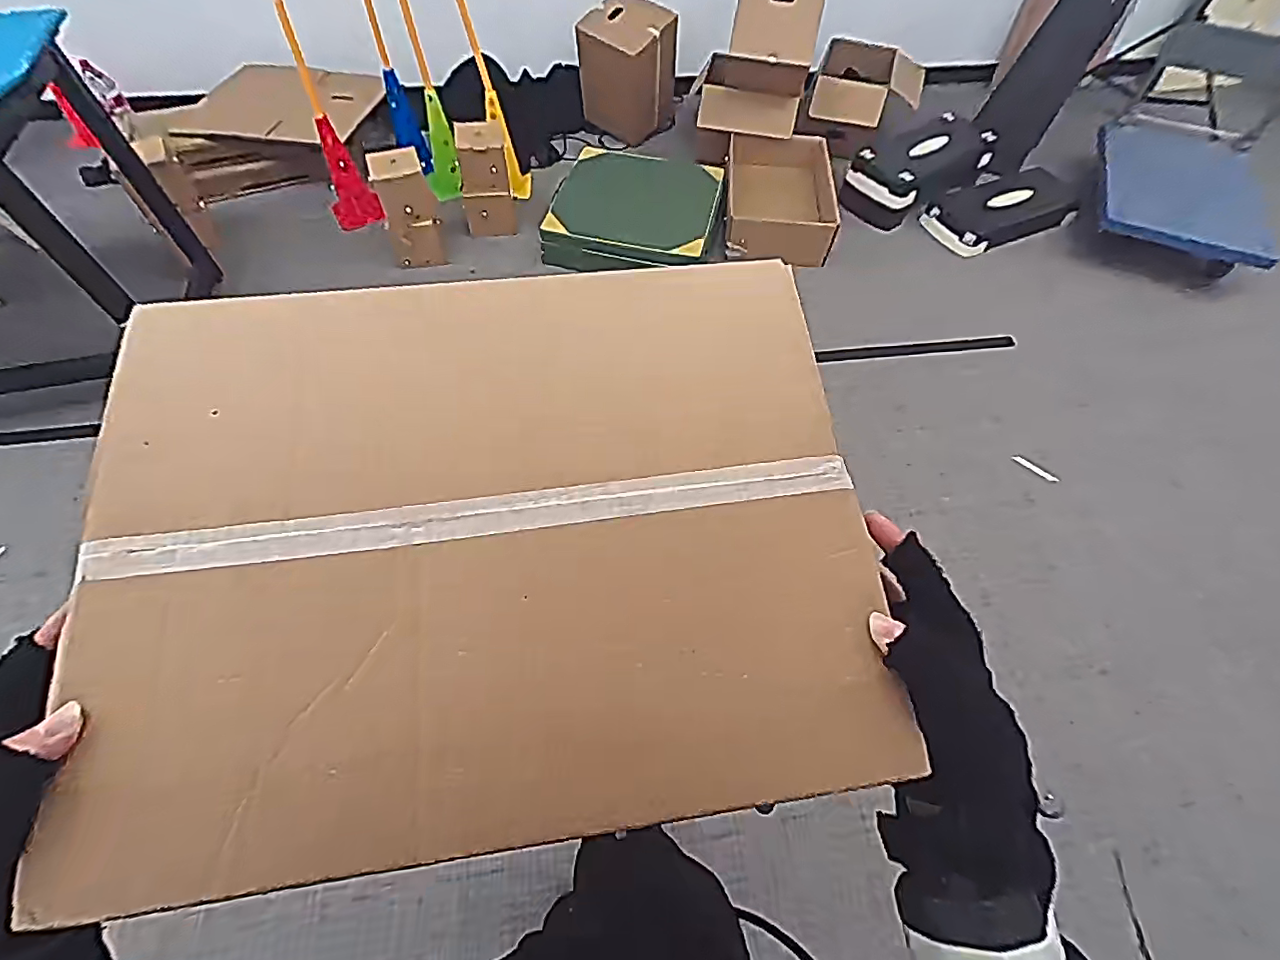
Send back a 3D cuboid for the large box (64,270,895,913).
[{"bbox_3d":[-0.090,0.071,0.445,0.408,0.320,0.320,-7,70,-5],"label":"large box"}]
